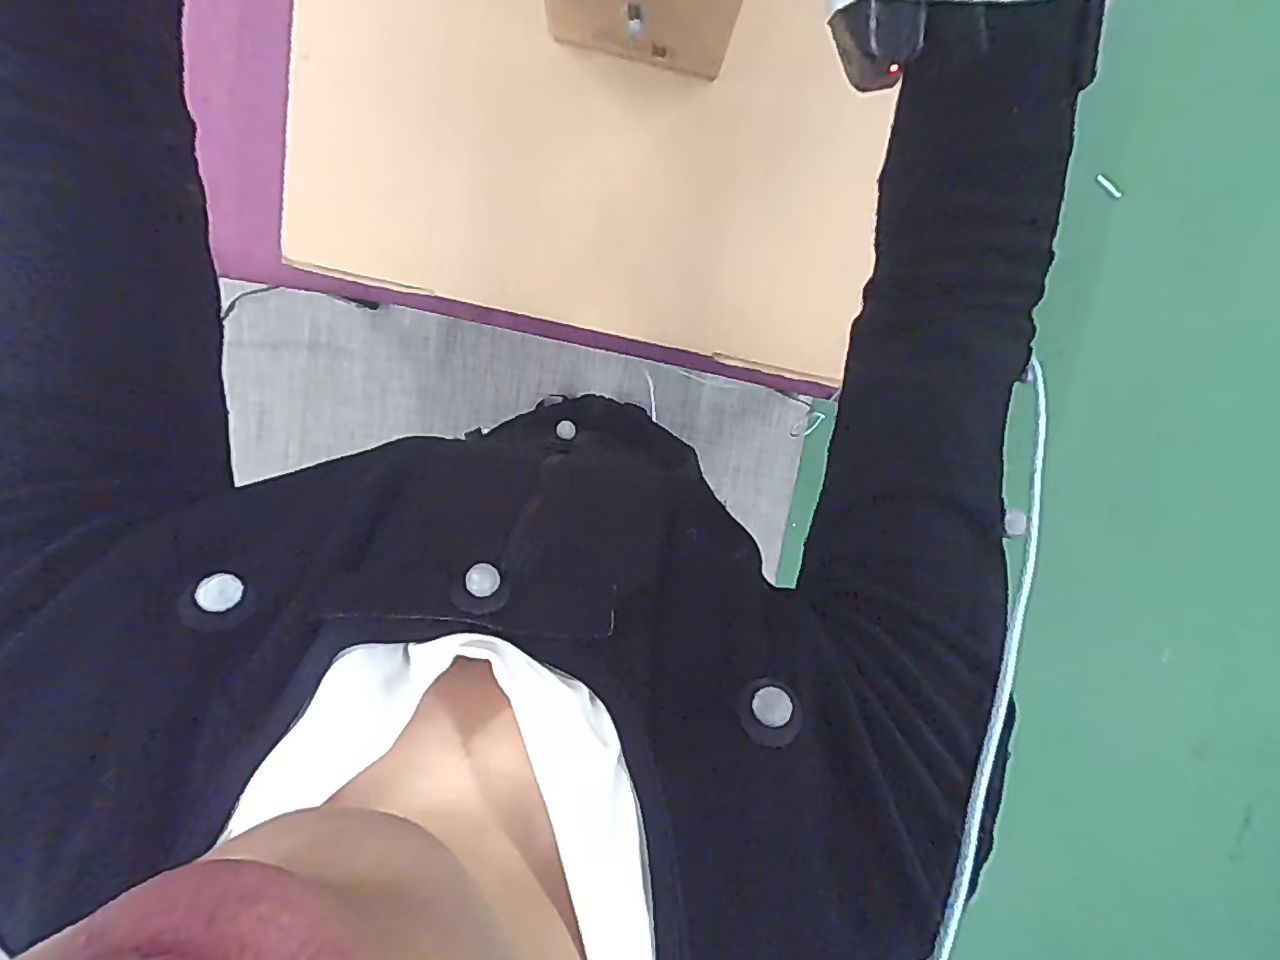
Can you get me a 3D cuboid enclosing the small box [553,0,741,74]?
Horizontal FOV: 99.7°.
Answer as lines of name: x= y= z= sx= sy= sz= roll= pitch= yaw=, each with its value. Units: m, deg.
small box: x=0.017 y=-0.478 z=0.425 sx=0.168 sy=0.176 sz=0.179 roll=12 pitch=96 yaw=-5
